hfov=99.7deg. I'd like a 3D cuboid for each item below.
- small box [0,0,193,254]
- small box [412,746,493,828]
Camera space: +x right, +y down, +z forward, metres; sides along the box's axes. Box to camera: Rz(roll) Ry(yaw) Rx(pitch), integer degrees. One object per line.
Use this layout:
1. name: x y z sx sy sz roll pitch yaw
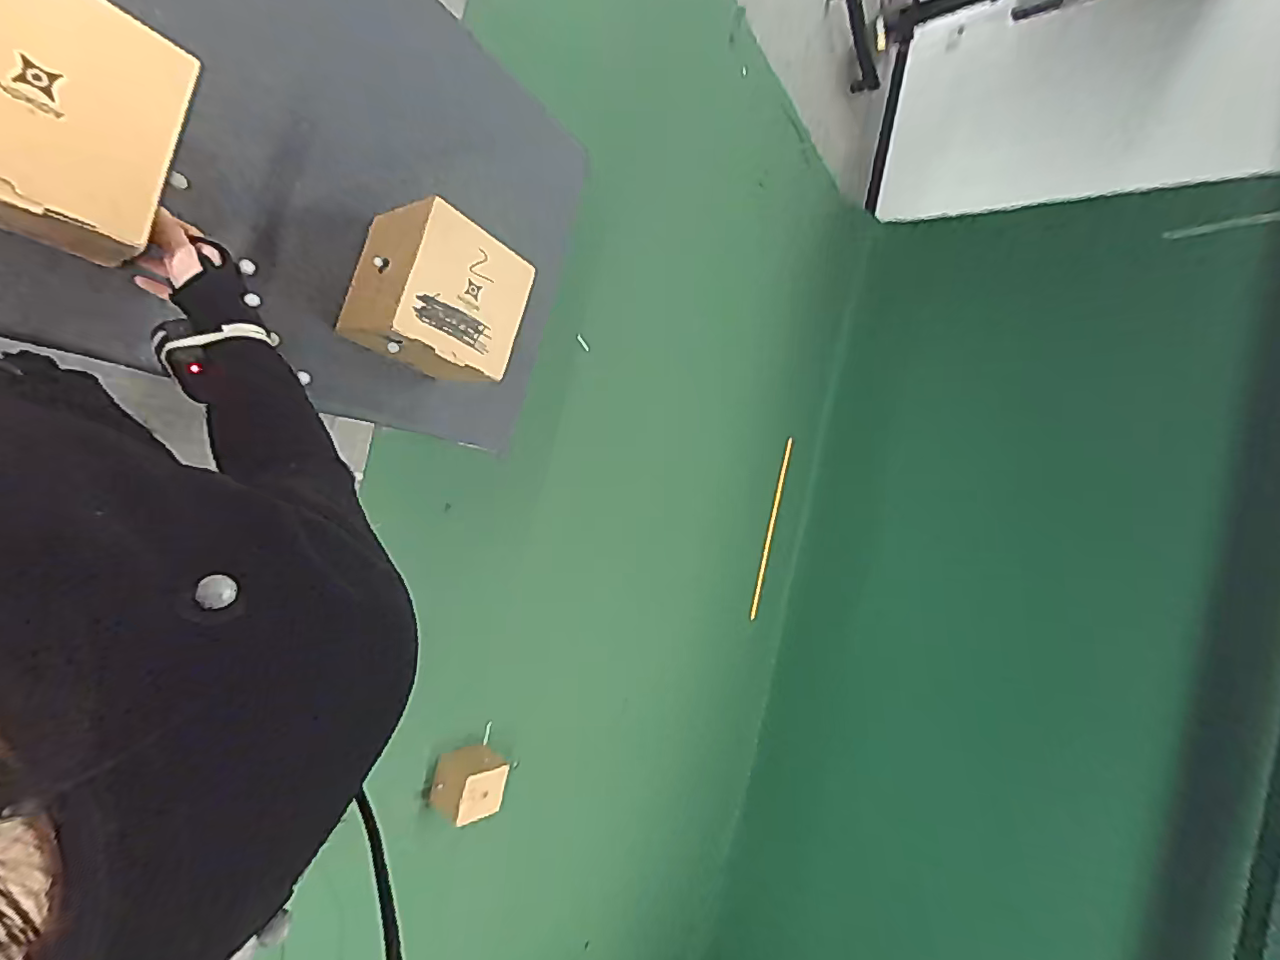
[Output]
1. small box: -0.515 -0.311 0.445 0.168 0.176 0.179 18 85 -54
2. small box: -0.640 1.035 1.841 0.179 0.176 0.168 16 85 -53
